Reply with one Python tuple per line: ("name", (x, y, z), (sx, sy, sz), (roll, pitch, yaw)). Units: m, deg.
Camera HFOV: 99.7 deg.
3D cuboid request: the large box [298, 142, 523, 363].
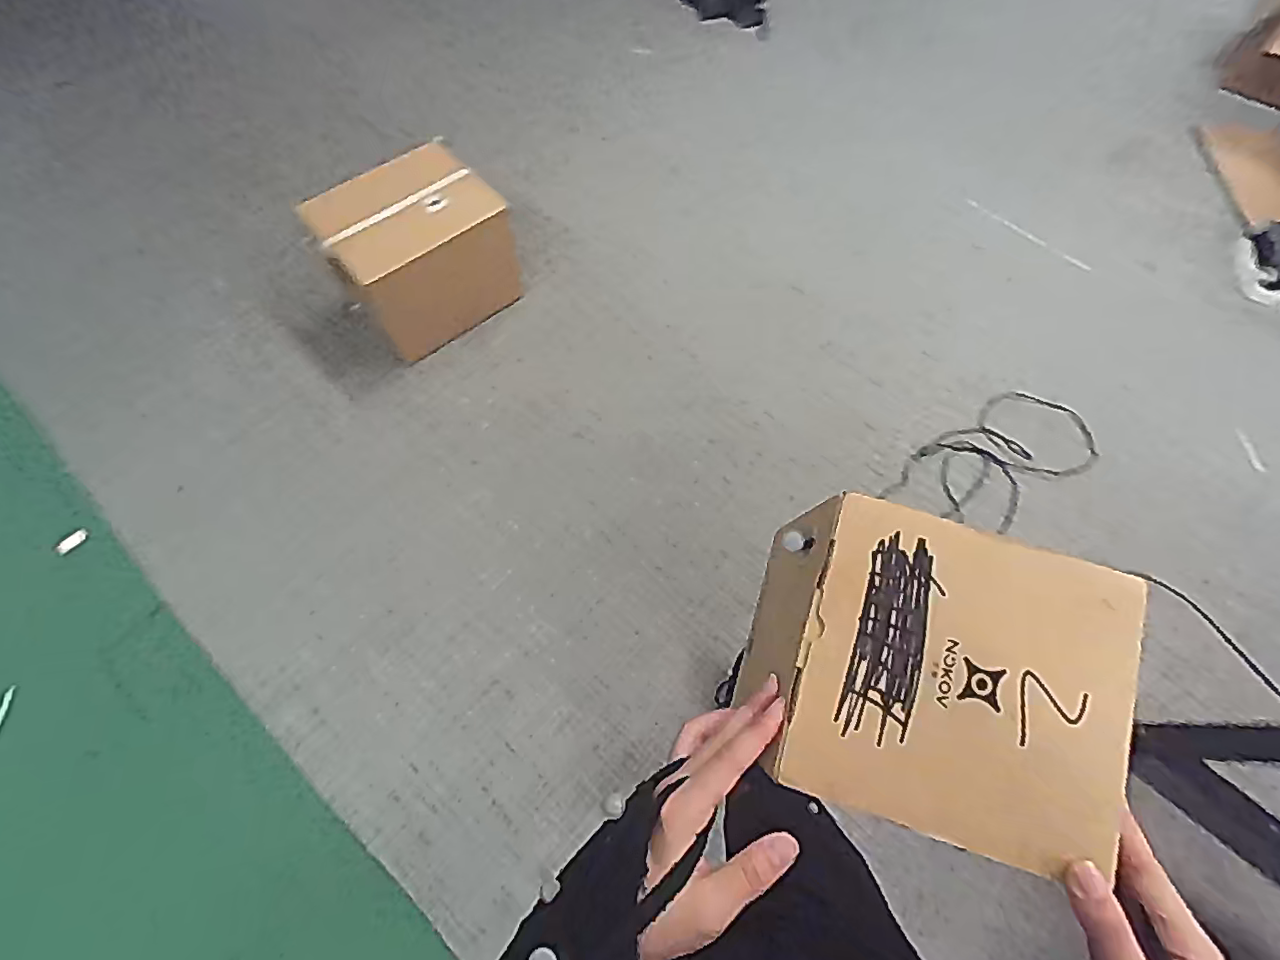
("large box", (-0.577, -0.594, 1.435), (0.408, 0.320, 0.320), (-39, 75, -19))
